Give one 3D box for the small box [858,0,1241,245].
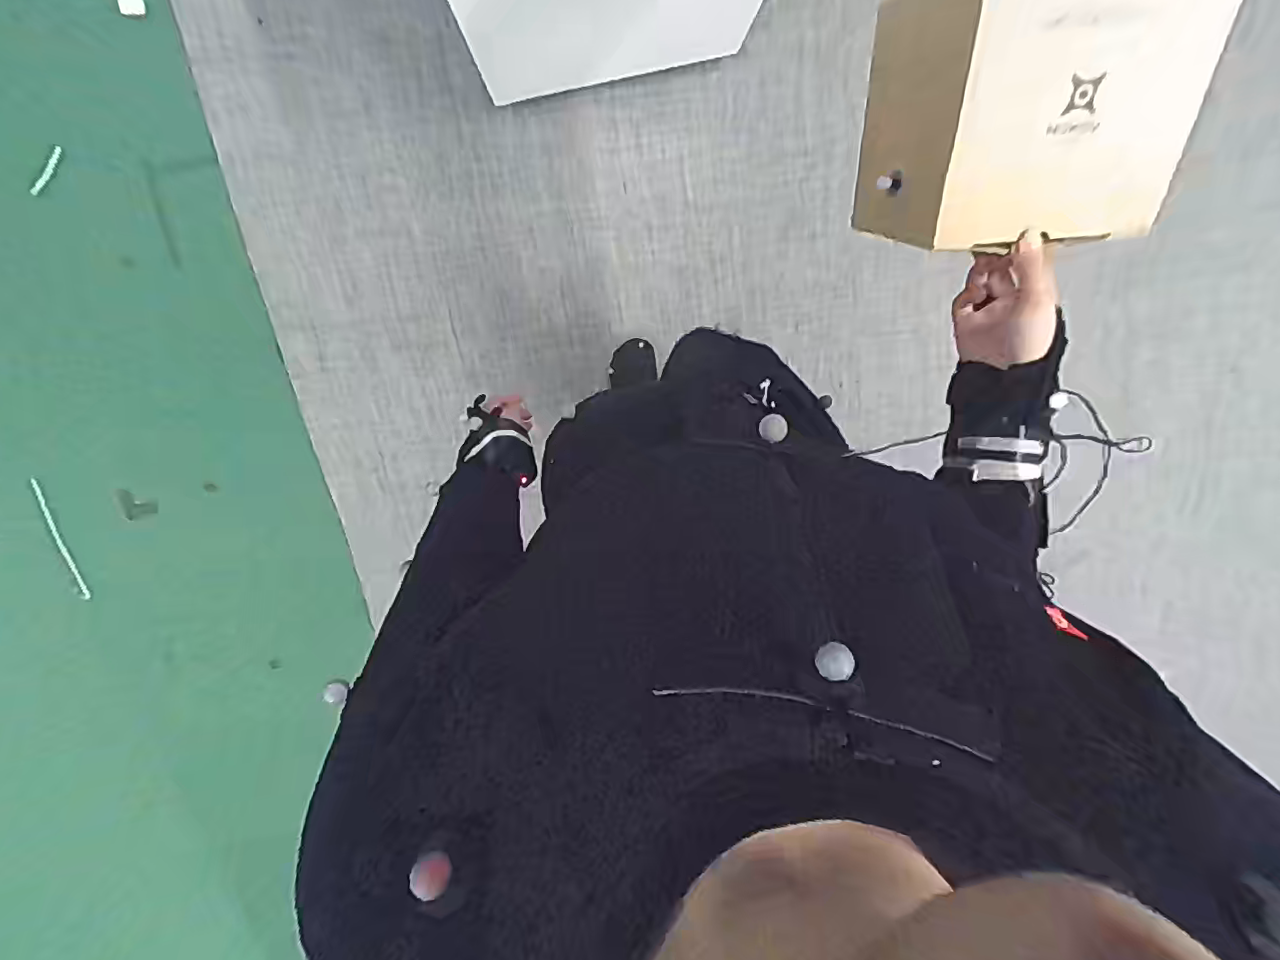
[{"bbox_3d":[0.288,-0.295,0.424,0.168,0.176,0.179,-6,119,0],"label":"small box"}]
